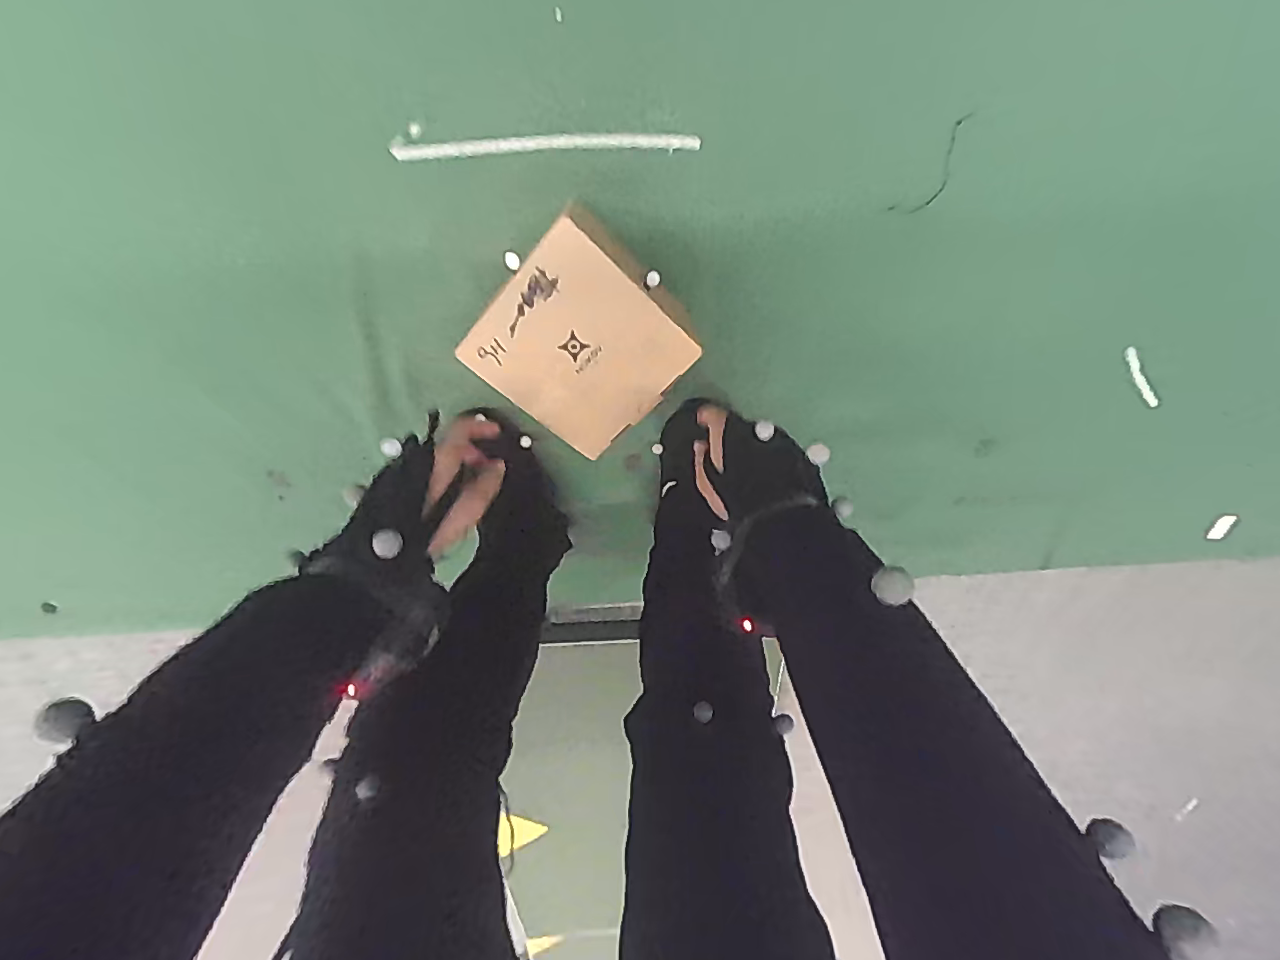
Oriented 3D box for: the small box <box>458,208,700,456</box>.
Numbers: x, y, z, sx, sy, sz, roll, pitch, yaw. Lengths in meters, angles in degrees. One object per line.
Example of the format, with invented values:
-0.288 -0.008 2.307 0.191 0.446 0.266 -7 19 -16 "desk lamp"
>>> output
-0.061 -0.166 0.586 0.179 0.176 0.168 38 112 -24 "small box"
